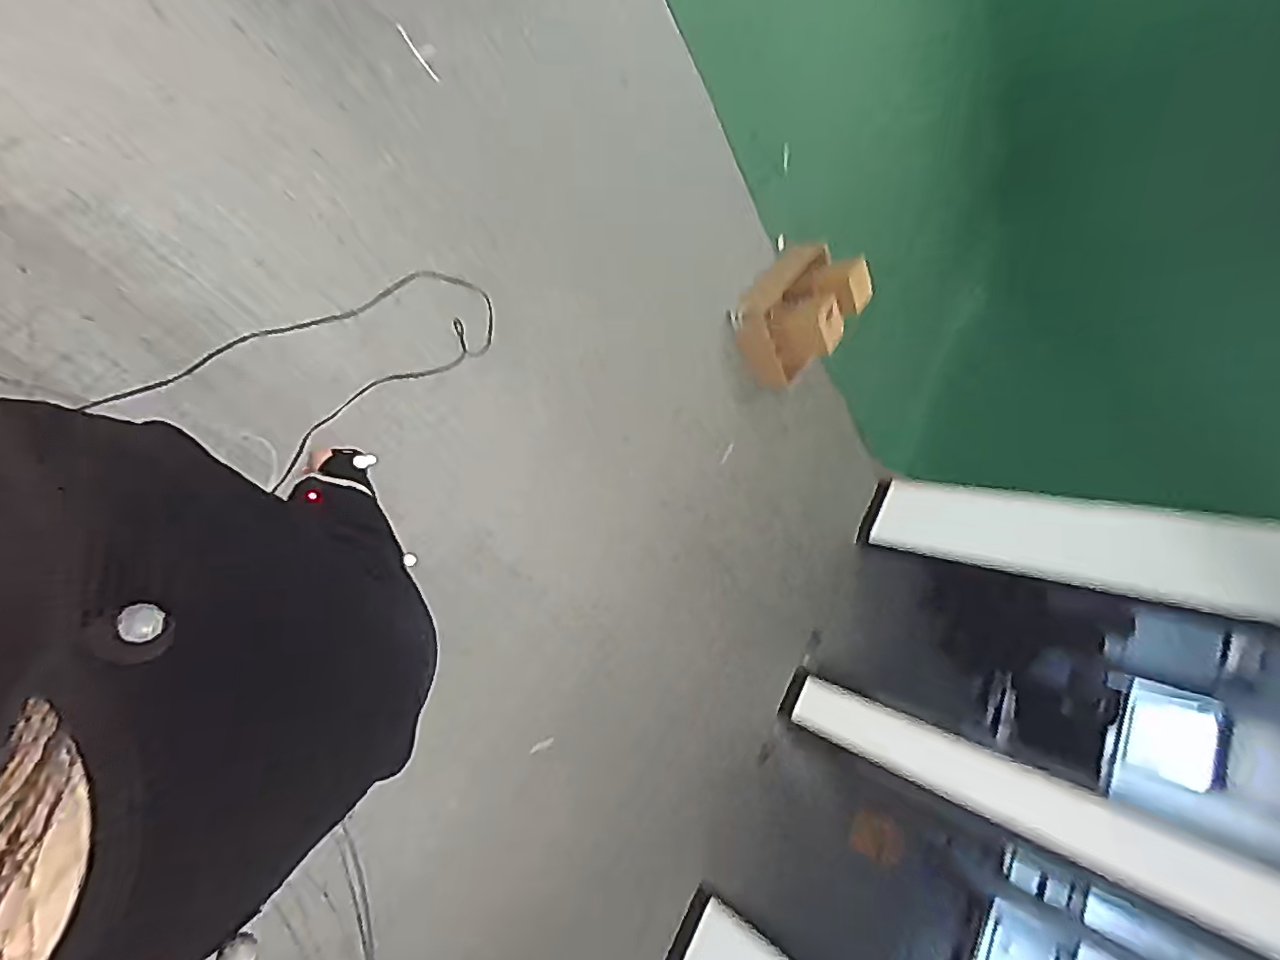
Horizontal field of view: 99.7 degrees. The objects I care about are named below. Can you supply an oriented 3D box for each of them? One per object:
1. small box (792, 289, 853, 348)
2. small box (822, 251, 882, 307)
[{"bbox_3d":[0.760,-0.668,2.262,0.168,0.176,0.179,-52,127,-24],"label":"small box"},{"bbox_3d":[0.937,-0.882,2.393,0.168,0.176,0.179,-49,124,-24],"label":"small box"}]
